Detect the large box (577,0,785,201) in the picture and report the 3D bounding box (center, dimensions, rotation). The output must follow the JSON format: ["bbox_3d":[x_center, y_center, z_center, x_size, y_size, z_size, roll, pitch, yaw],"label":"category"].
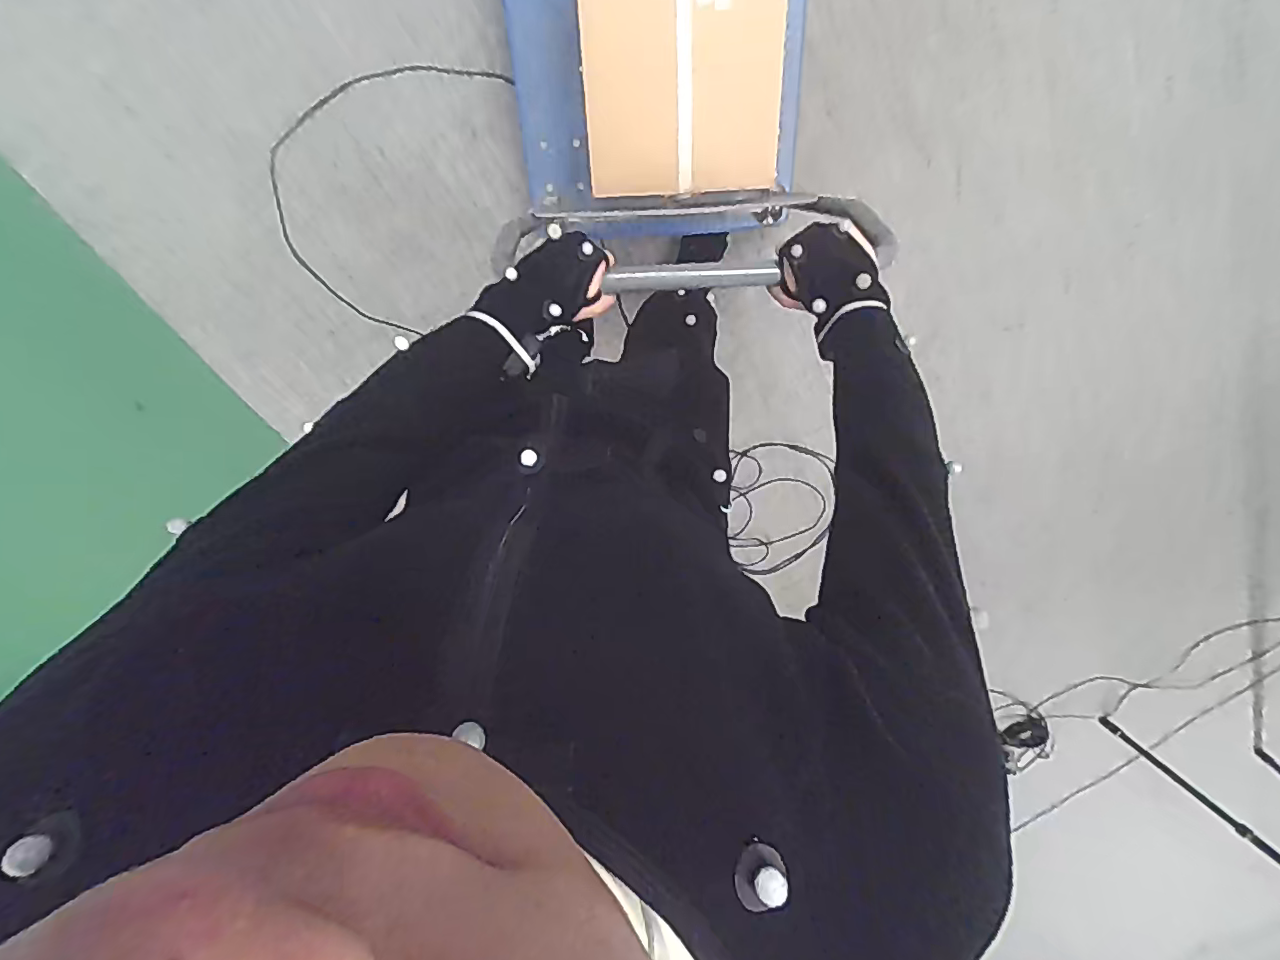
[{"bbox_3d":[0.065,-0.734,0.961,0.320,0.320,0.408,-3,119,0],"label":"large box"}]
